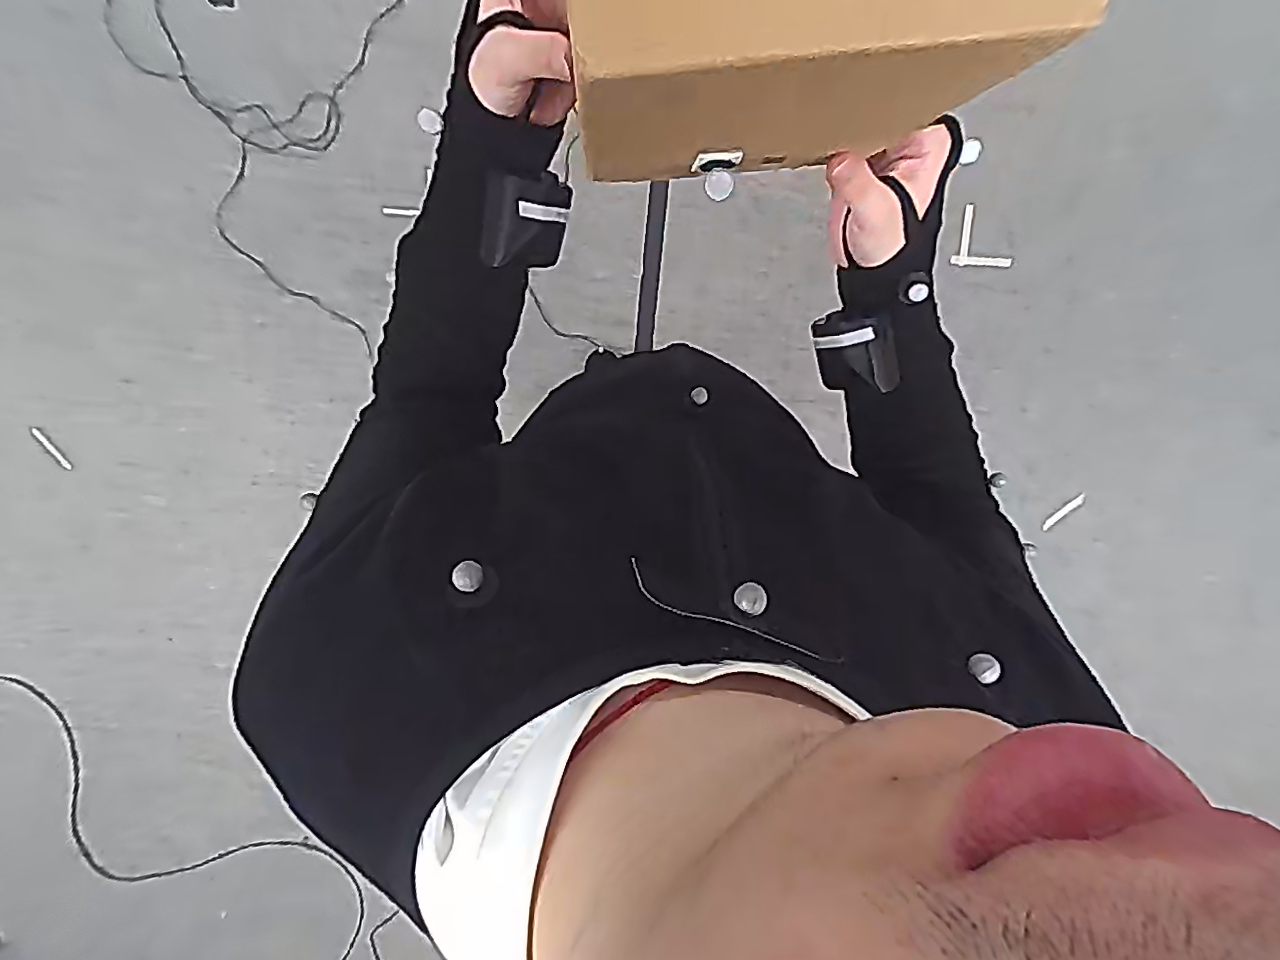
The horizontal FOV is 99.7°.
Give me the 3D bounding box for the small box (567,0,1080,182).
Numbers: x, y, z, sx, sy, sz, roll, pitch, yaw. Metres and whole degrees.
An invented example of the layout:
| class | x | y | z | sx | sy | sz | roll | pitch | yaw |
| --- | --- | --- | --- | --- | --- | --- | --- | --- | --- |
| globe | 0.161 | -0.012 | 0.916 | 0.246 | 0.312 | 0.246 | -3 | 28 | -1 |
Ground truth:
| class | x | y | z | sx | sy | sz | roll | pitch | yaw |
| --- | --- | --- | --- | --- | --- | --- | --- | --- | --- |
| small box | 0.048 | -0.244 | 0.224 | 0.168 | 0.176 | 0.179 | -7 | 110 | -1 |
